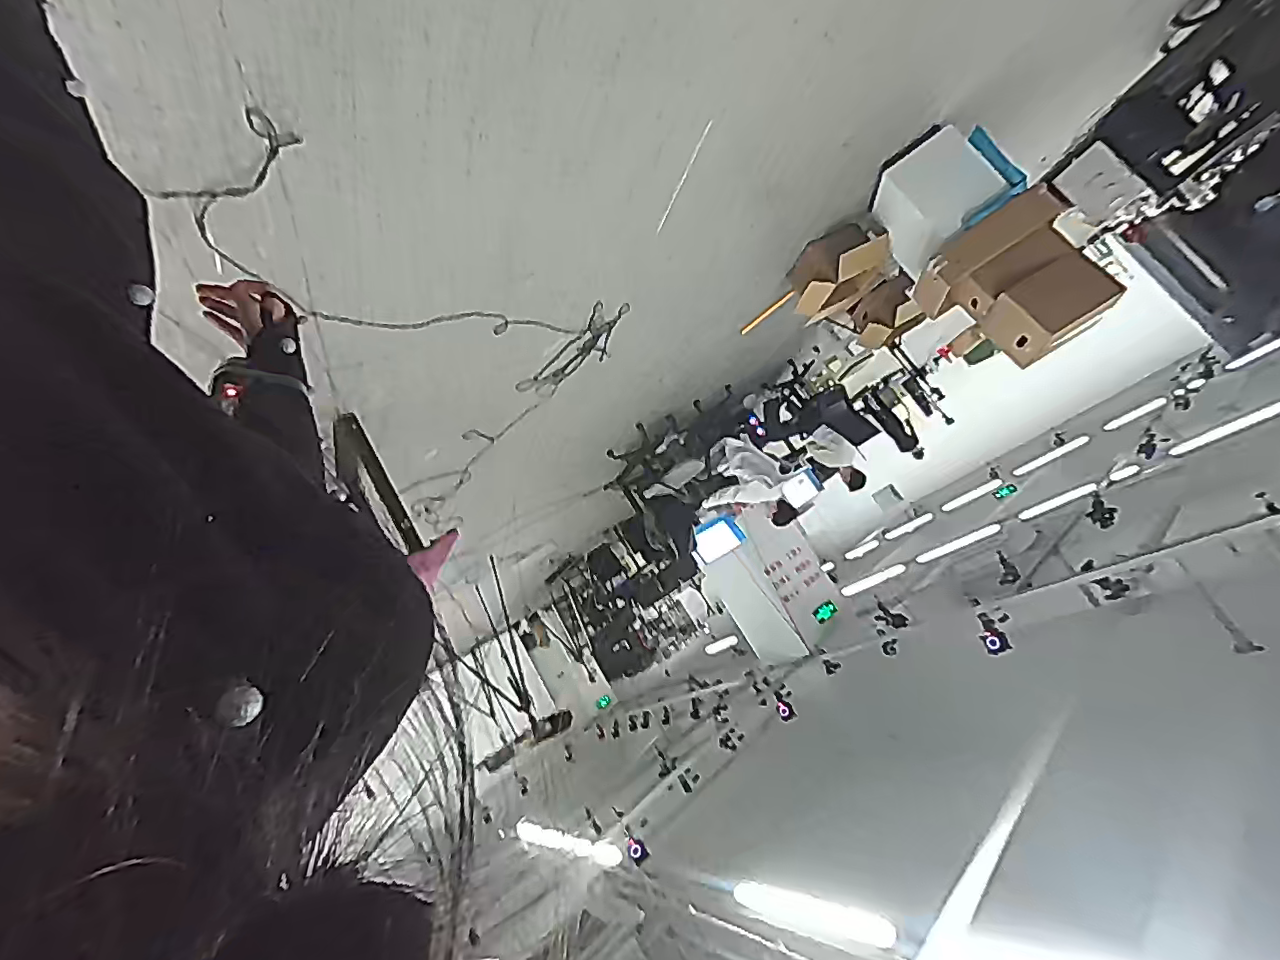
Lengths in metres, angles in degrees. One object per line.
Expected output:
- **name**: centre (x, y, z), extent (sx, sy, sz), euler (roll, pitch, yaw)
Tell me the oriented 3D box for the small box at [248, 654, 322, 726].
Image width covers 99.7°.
- **small box**: centre (-1.310, 0.774, 2.001), extent (0.179, 0.176, 0.168), euler (-25, 164, -36)
